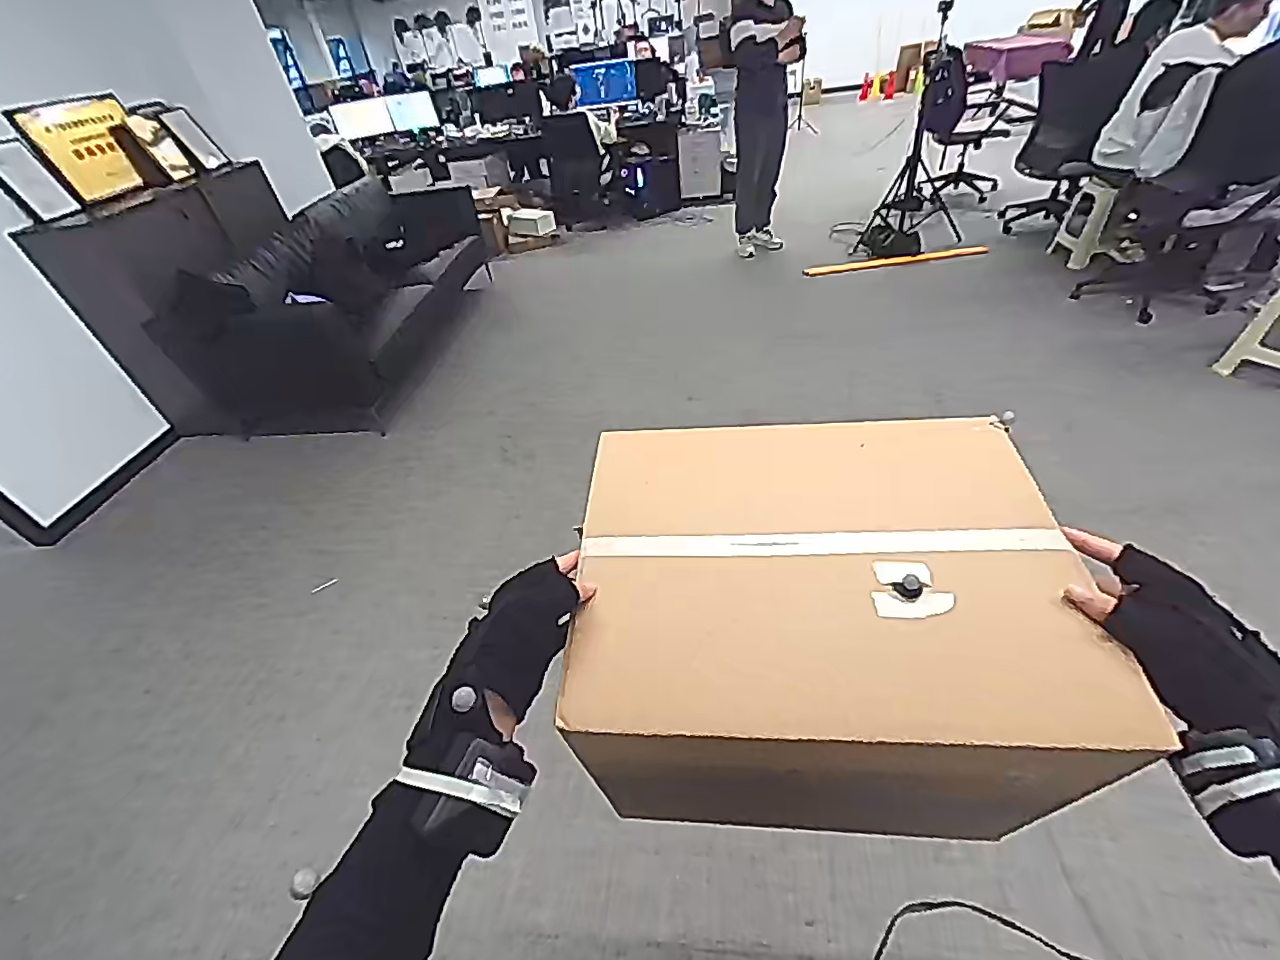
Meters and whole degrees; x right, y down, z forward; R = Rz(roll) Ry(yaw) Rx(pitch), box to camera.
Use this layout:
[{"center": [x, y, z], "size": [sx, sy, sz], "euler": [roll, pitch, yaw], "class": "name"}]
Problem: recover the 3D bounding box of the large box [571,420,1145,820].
[{"center": [0.166, 0.159, 0.589], "size": [0.408, 0.320, 0.320], "euler": [-2, 48, 8], "class": "large box"}]
